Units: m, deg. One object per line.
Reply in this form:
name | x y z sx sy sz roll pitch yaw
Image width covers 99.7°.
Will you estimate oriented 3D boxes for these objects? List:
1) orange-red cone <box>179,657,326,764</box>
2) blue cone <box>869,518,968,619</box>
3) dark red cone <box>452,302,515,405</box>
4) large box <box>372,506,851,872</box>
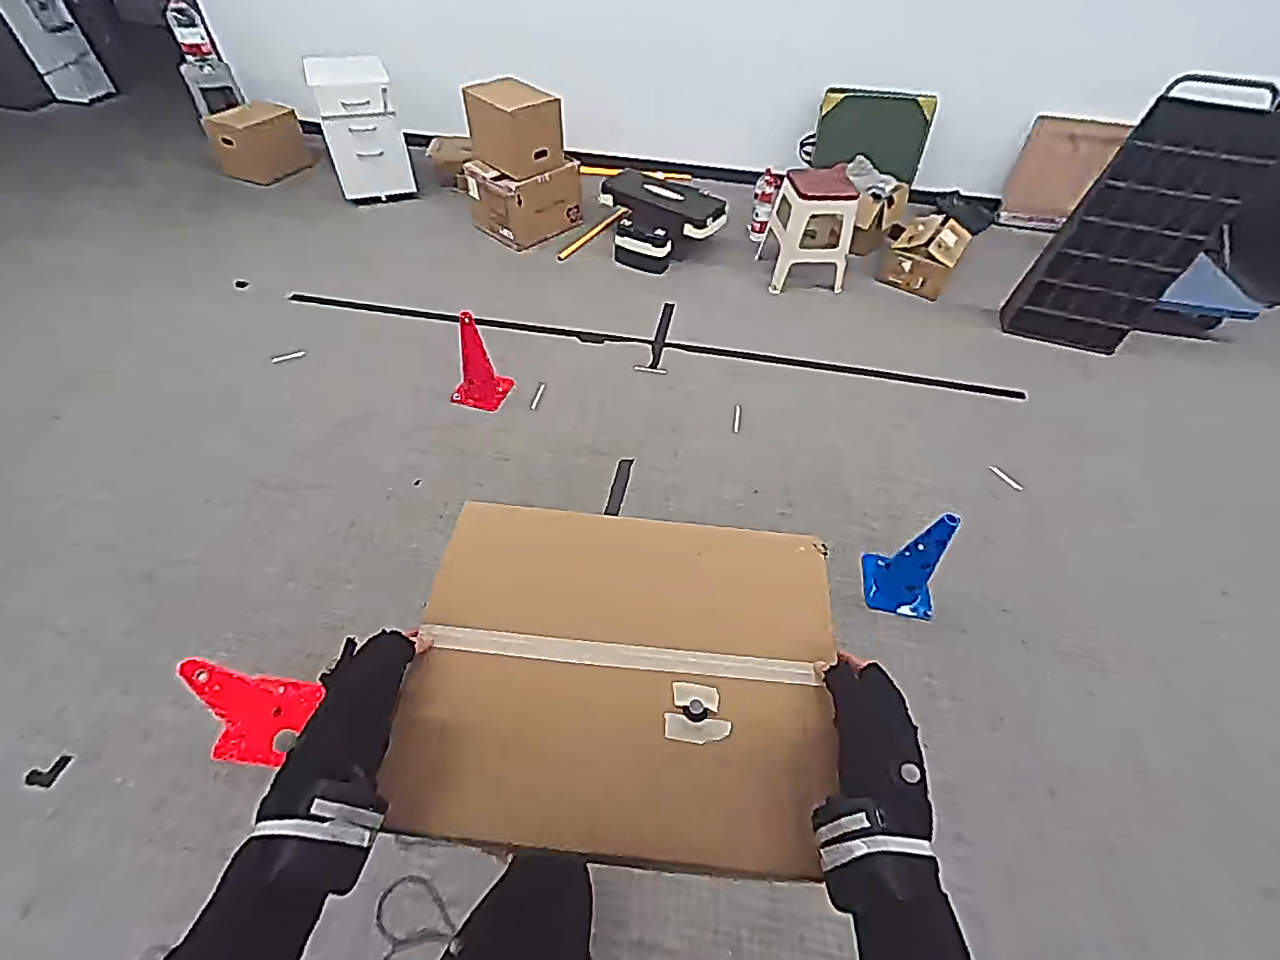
orange-red cone | -0.915 0.488 1.226 0.198 0.360 0.199 7 51 4
blue cone | 0.823 0.230 1.563 0.192 0.380 0.193 13 50 6
dark red cone | -0.611 -0.484 2.035 0.201 0.394 0.202 15 51 8
large box | -0.021 0.257 0.646 0.408 0.320 0.320 6 54 1
